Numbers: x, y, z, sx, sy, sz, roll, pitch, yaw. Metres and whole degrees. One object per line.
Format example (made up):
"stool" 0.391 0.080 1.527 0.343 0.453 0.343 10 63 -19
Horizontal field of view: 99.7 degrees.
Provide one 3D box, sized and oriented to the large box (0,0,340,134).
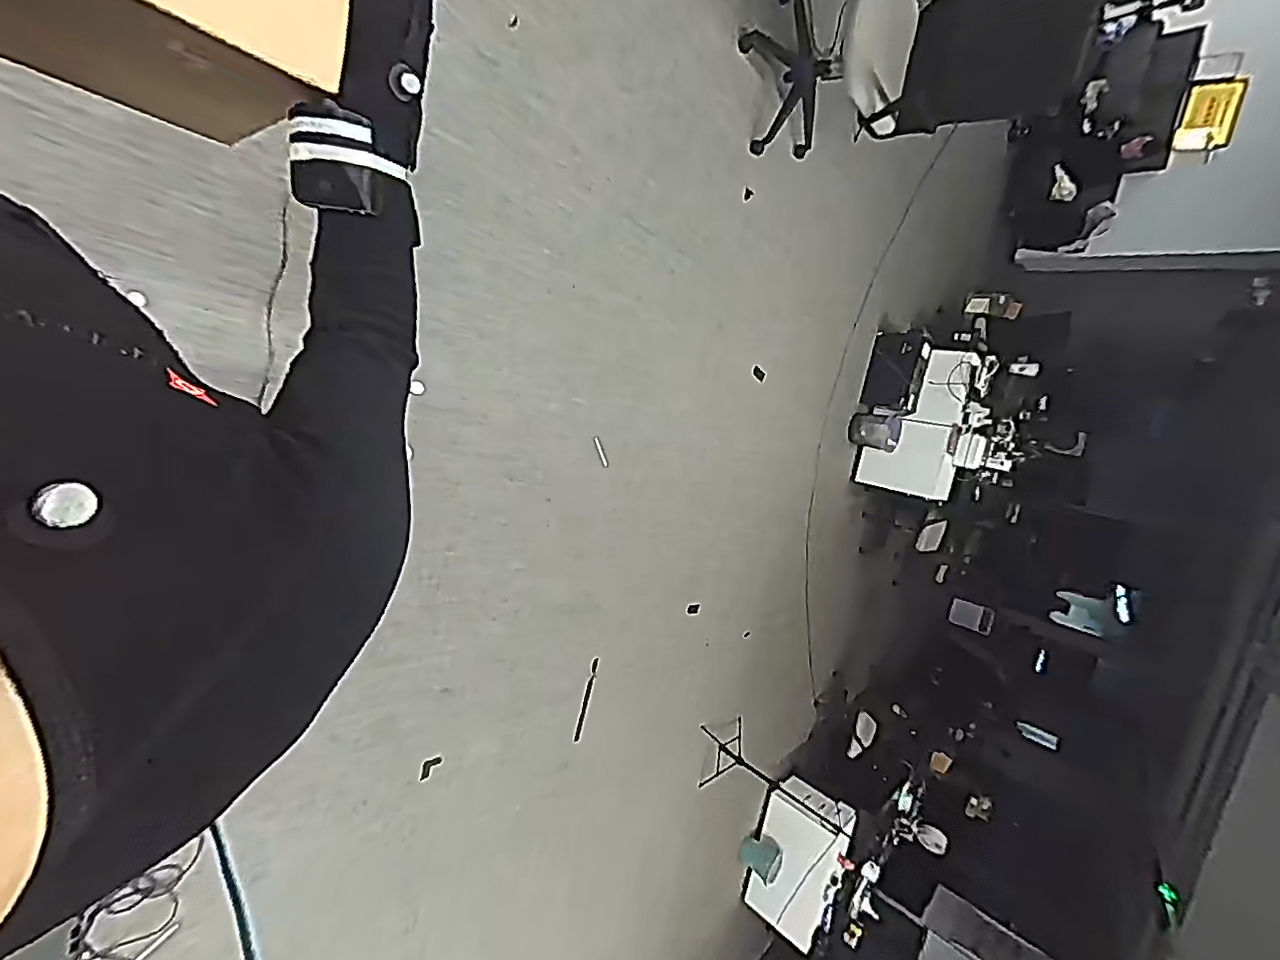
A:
"large box" -0.423 -0.460 0.293 0.408 0.320 0.320 0 106 -49
